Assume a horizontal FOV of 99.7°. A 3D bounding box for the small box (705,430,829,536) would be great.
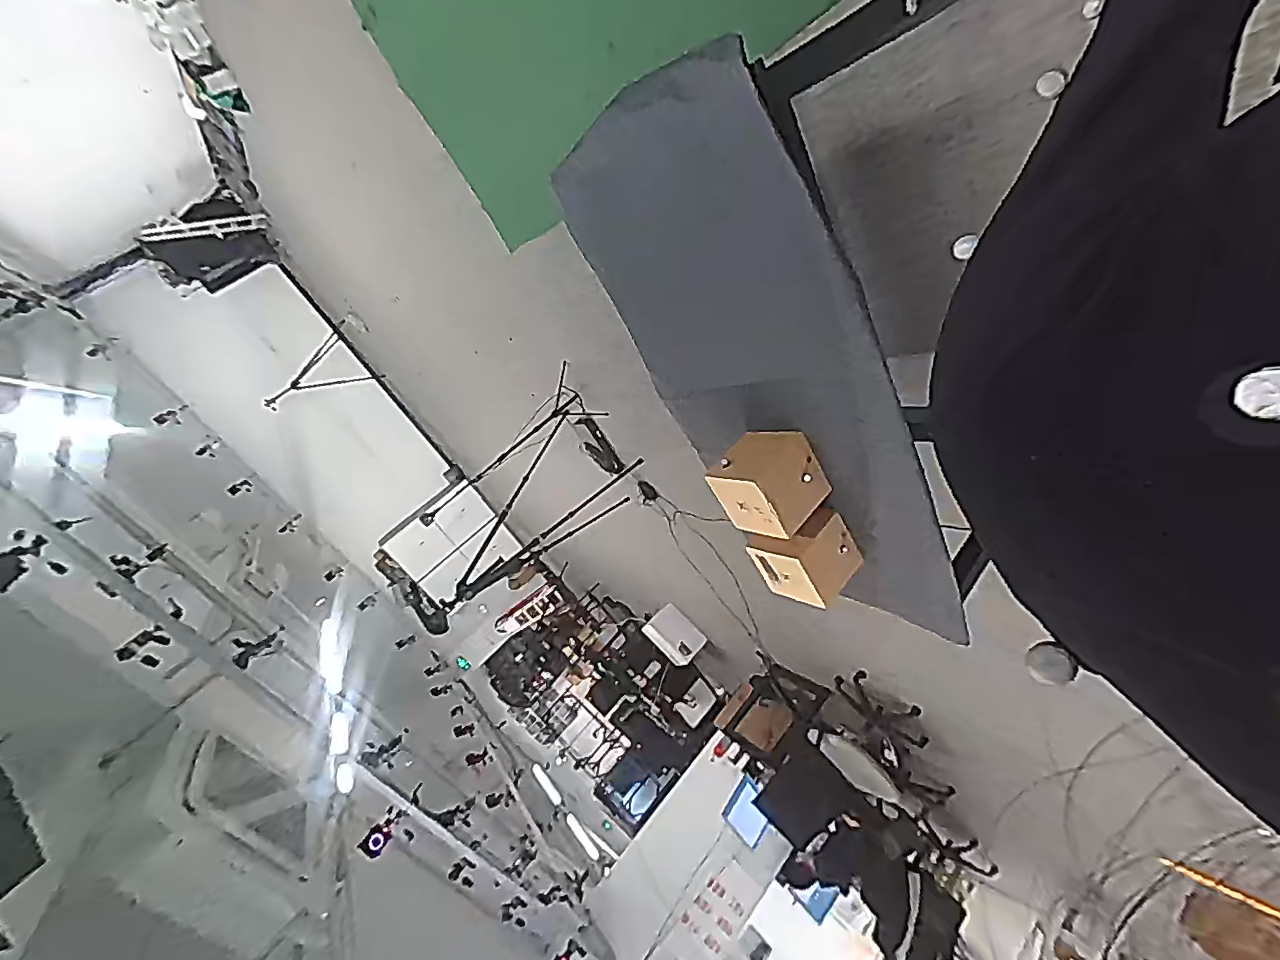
[{"bbox_3d":[0.287,-0.001,1.221,0.168,0.176,0.179,55,157,-23],"label":"small box"}]
